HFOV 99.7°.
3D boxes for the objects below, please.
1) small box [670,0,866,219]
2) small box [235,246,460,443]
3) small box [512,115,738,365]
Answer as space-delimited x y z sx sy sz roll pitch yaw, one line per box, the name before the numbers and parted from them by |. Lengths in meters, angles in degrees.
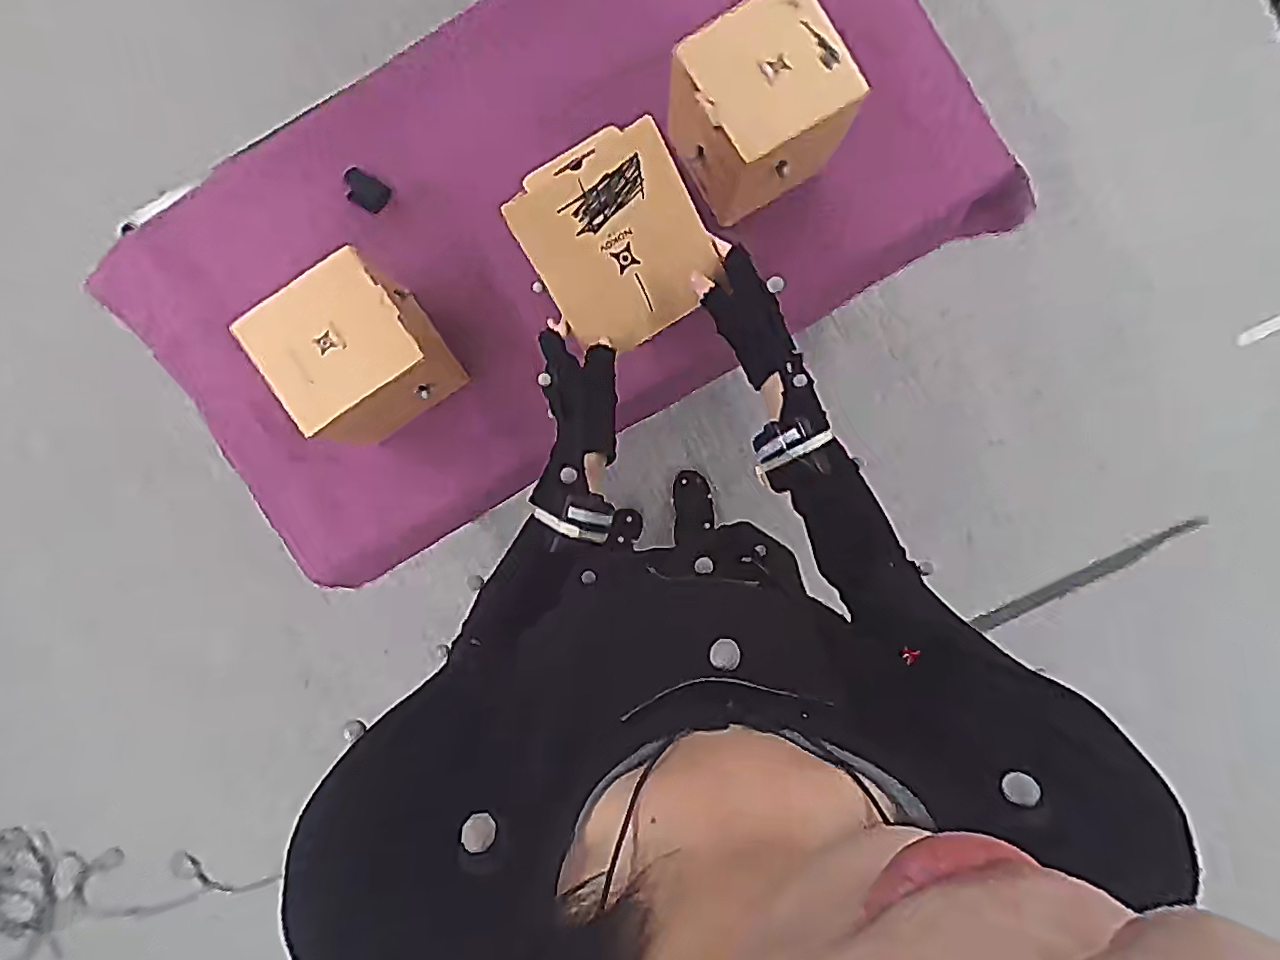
small box | 0.154 -0.486 0.713 0.179 0.176 0.168 -31 90 1
small box | -0.364 -0.165 0.719 0.179 0.176 0.168 -35 89 1
small box | -0.022 -0.248 0.595 0.168 0.176 0.179 -30 111 2
